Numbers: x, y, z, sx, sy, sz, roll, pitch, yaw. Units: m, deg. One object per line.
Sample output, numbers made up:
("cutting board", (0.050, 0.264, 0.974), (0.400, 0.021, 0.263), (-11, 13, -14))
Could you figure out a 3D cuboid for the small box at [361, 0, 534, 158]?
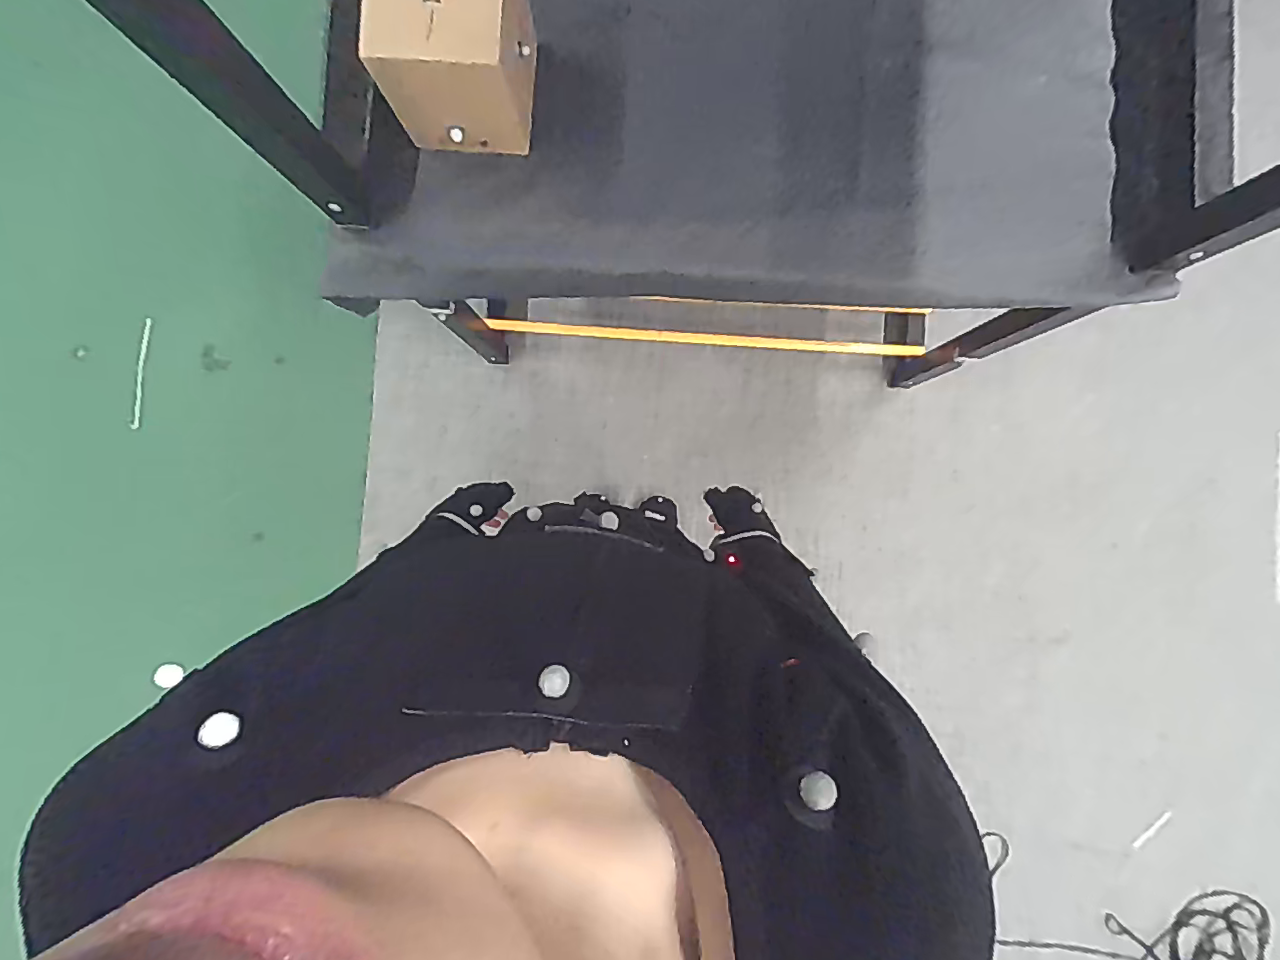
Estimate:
("small box", (-0.239, -0.566, 0.712), (0.168, 0.176, 0.179), (3, 88, 0))
